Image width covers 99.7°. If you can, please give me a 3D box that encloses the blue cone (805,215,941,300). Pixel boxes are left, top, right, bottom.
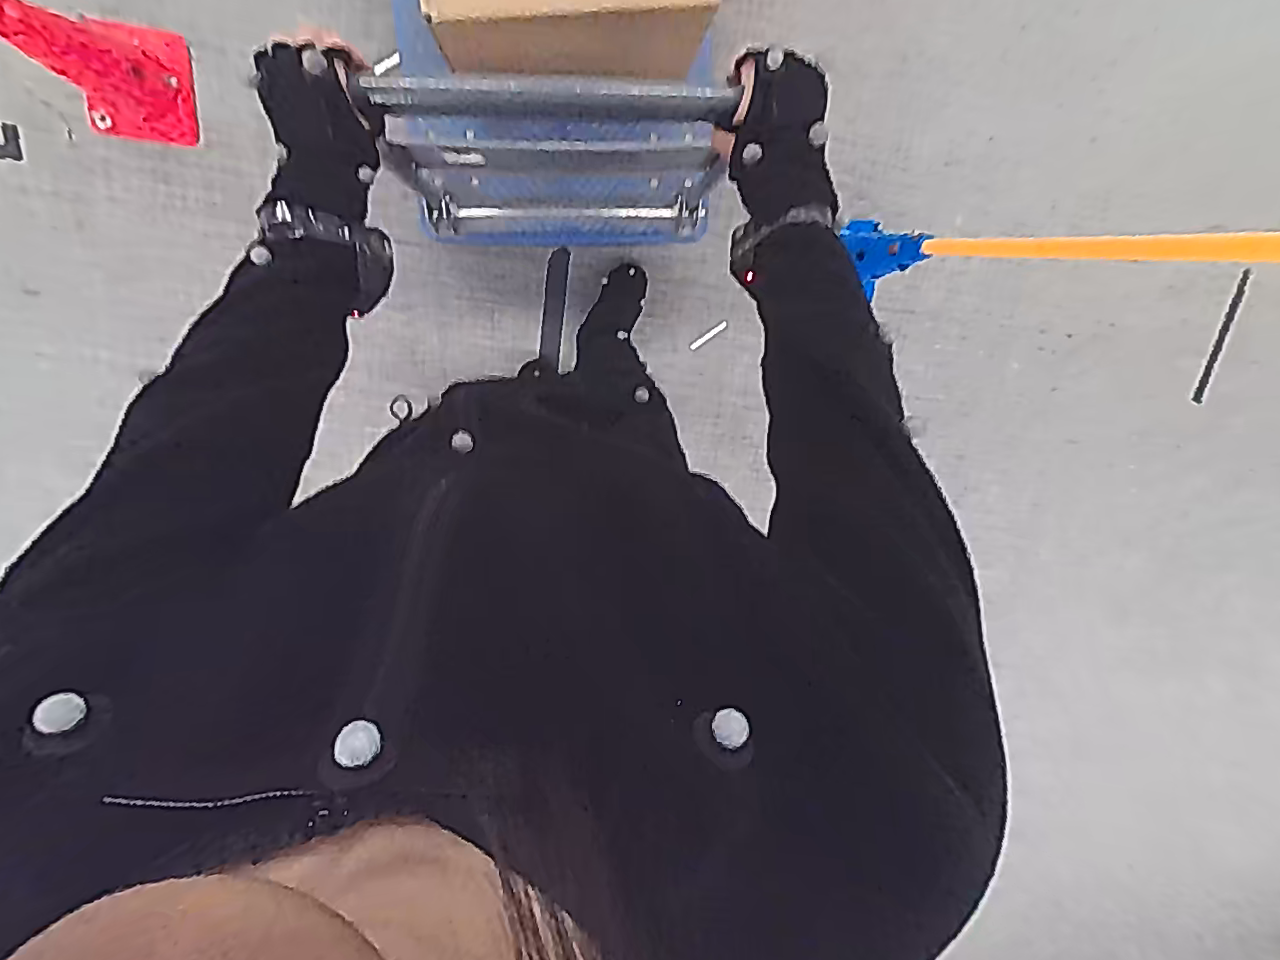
[{"bbox_3d":[0.523,-0.502,1.181,0.193,0.380,0.192,2,106,-7],"label":"blue cone"}]
